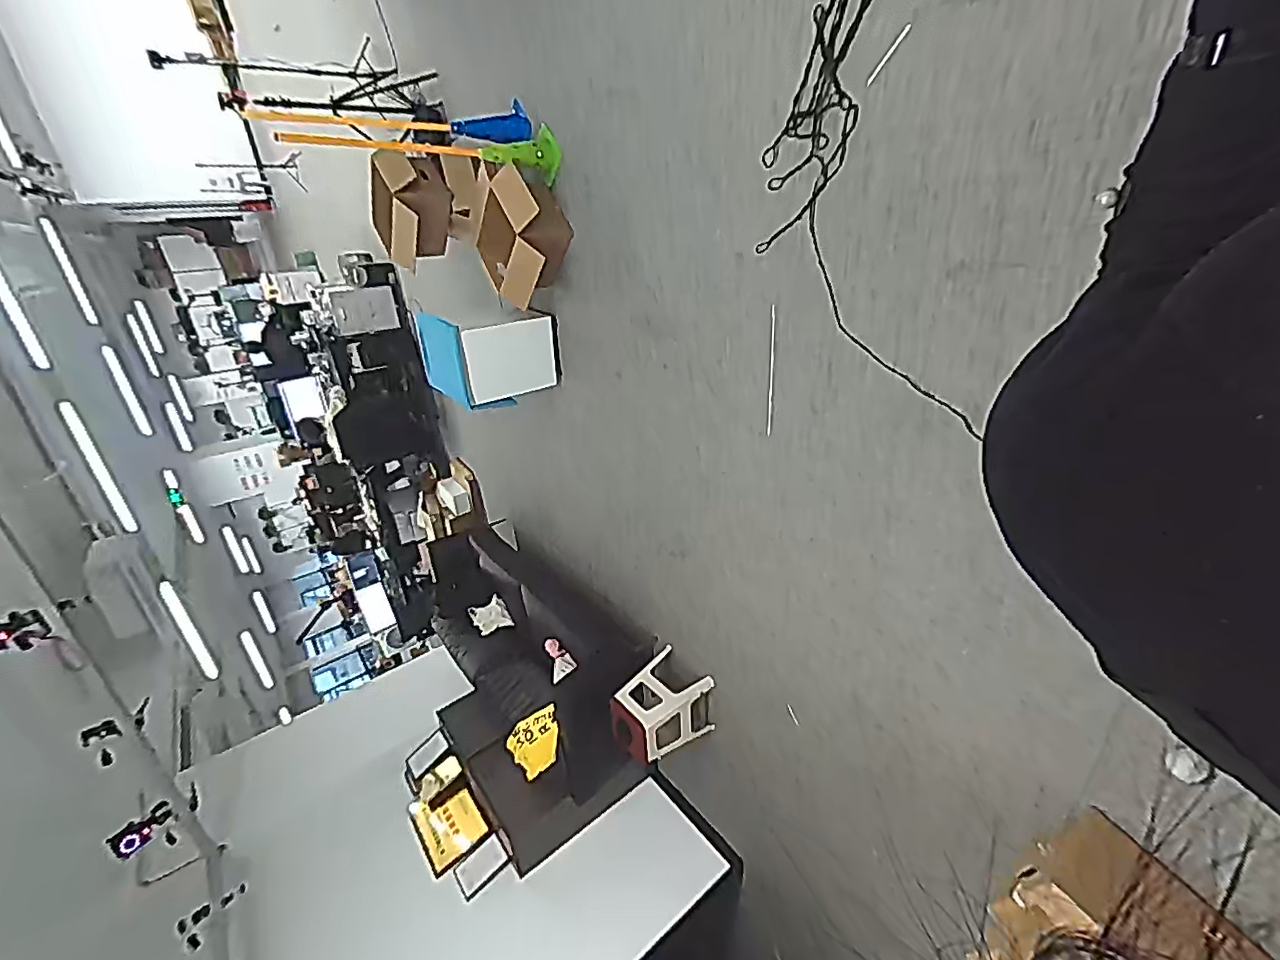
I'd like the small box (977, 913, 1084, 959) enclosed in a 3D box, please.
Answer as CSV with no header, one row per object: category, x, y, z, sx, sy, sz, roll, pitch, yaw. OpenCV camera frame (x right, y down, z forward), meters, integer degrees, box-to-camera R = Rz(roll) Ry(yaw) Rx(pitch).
small box,1.003,1.254,1.372,0.168,0.176,0.179,44,142,33
